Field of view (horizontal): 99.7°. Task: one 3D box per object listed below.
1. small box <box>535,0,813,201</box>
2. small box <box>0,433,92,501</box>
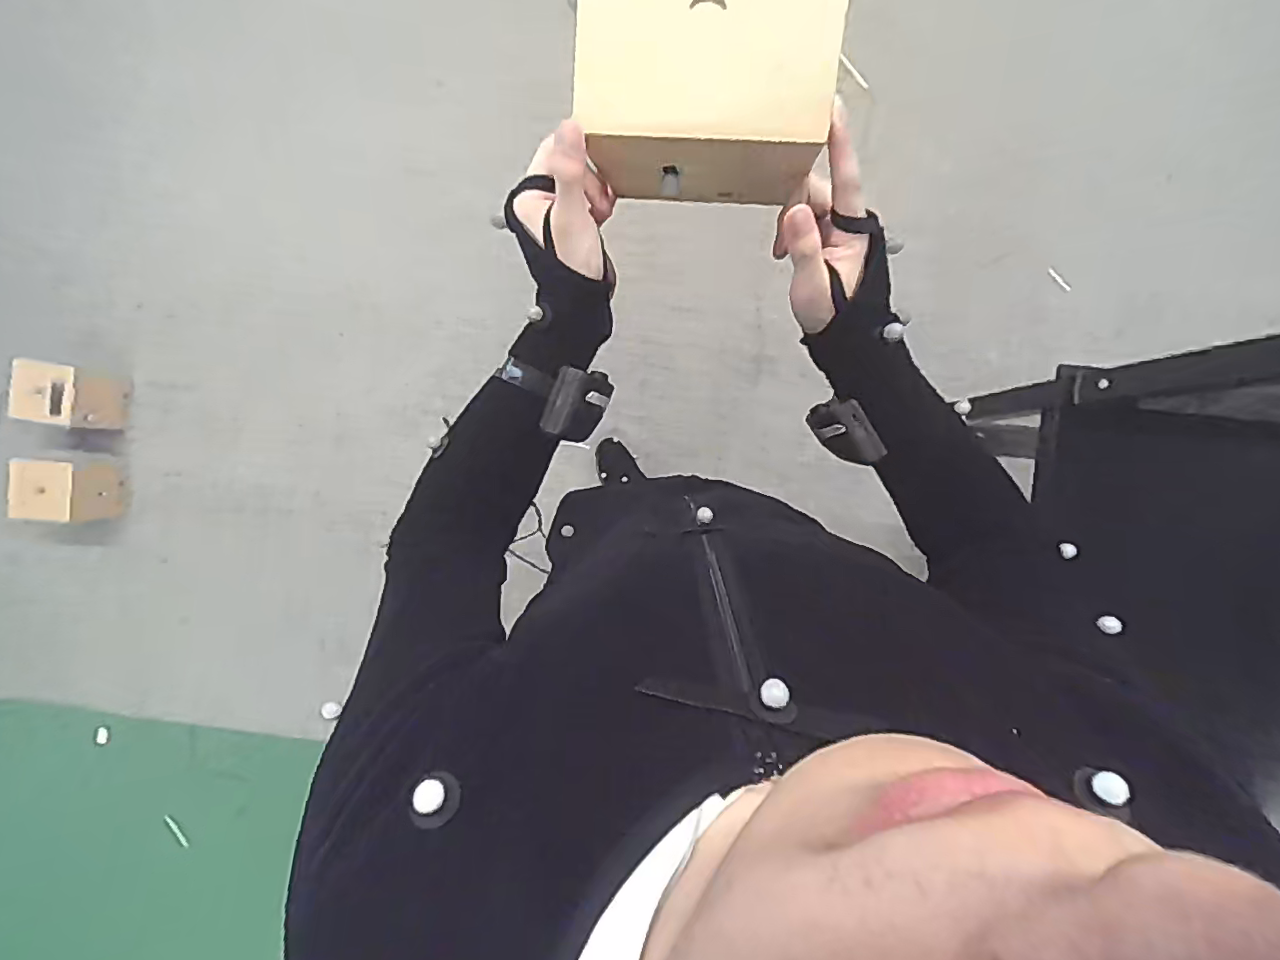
[{"bbox_3d":[0.032,-0.316,0.388,0.168,0.176,0.179,7,105,6],"label":"small box"},{"bbox_3d":[-1.692,-0.039,1.501,0.179,0.176,0.168,7,92,-1],"label":"small box"}]
